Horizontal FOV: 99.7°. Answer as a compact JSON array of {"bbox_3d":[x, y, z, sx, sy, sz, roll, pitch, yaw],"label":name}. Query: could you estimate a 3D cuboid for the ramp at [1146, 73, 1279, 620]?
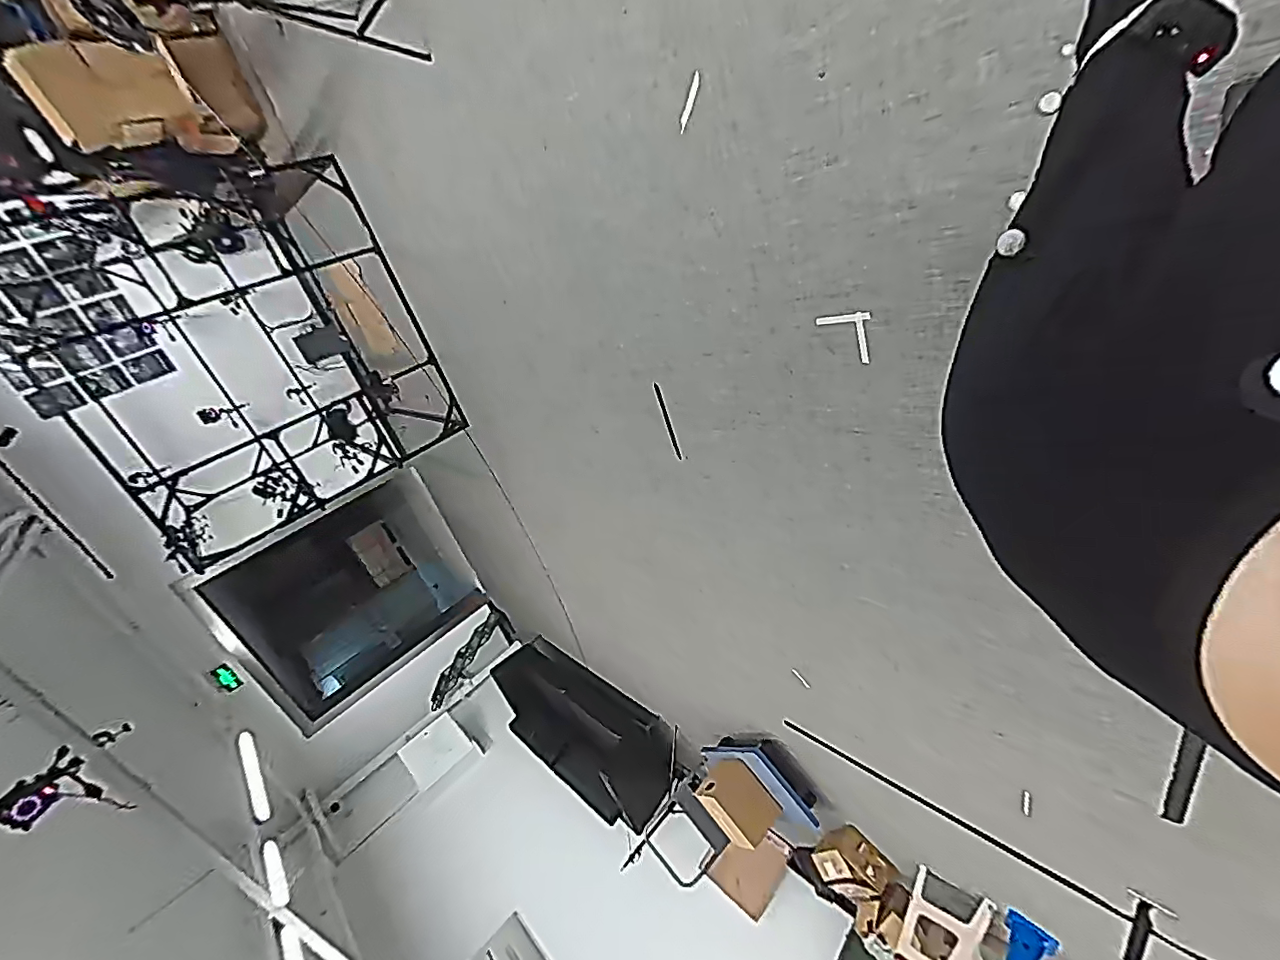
[{"bbox_3d":[1.238,-0.171,0.904,0.509,0.206,0.991,12,130,50],"label":"ramp"}]
